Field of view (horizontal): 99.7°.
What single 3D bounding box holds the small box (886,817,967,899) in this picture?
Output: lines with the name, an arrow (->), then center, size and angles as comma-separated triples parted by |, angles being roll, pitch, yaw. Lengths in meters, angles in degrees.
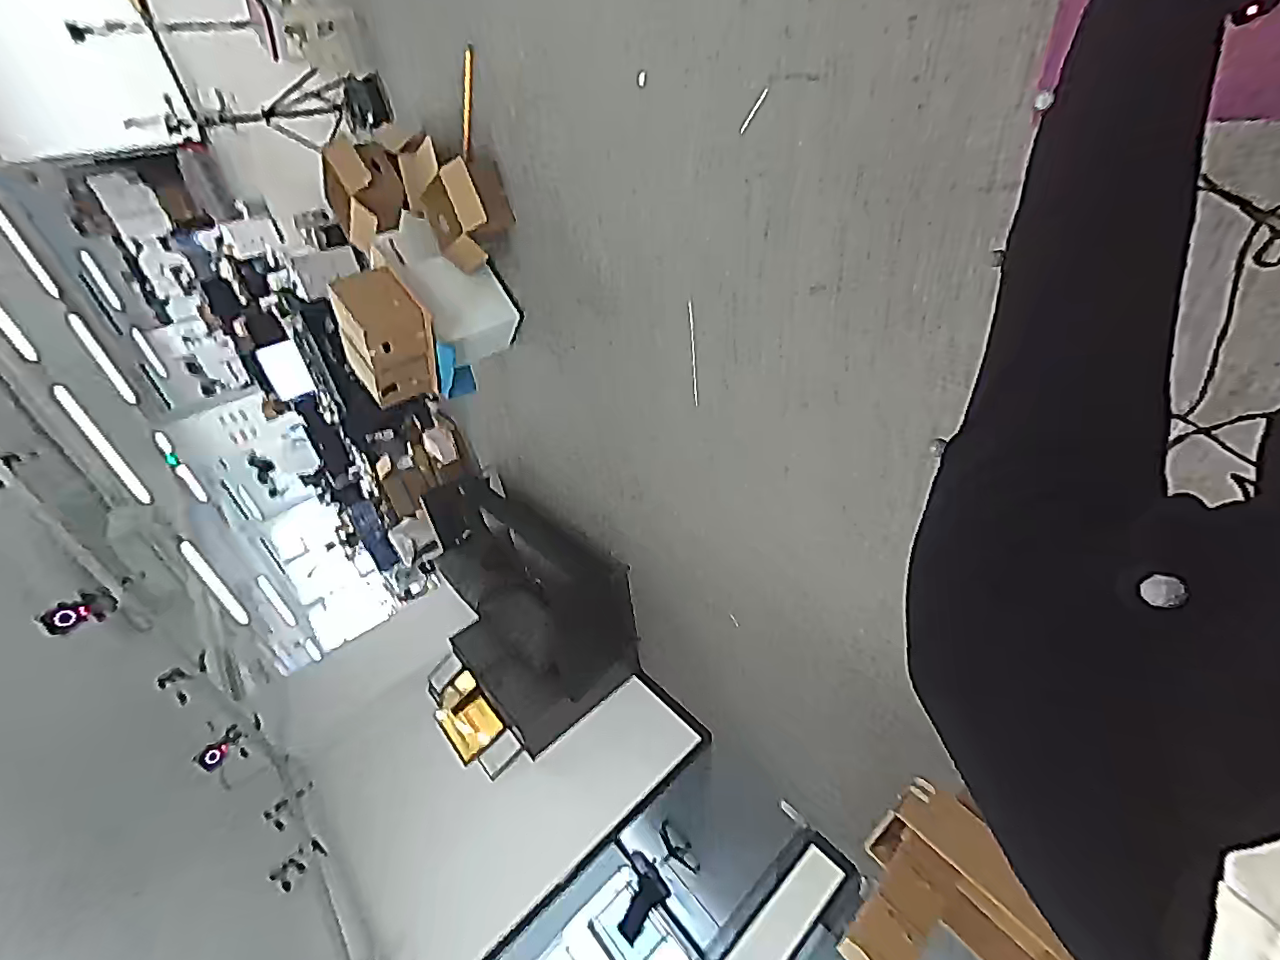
small box -> 0.962, 1.284, 1.816 | 0.168, 0.176, 0.179 | 33, 141, 36

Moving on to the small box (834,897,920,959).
small box -> 0.722, 1.421, 1.643 | 0.168, 0.176, 0.179 | 33, 141, 36

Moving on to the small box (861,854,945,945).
small box -> 0.843, 1.352, 1.729 | 0.168, 0.176, 0.179 | 33, 140, 36
